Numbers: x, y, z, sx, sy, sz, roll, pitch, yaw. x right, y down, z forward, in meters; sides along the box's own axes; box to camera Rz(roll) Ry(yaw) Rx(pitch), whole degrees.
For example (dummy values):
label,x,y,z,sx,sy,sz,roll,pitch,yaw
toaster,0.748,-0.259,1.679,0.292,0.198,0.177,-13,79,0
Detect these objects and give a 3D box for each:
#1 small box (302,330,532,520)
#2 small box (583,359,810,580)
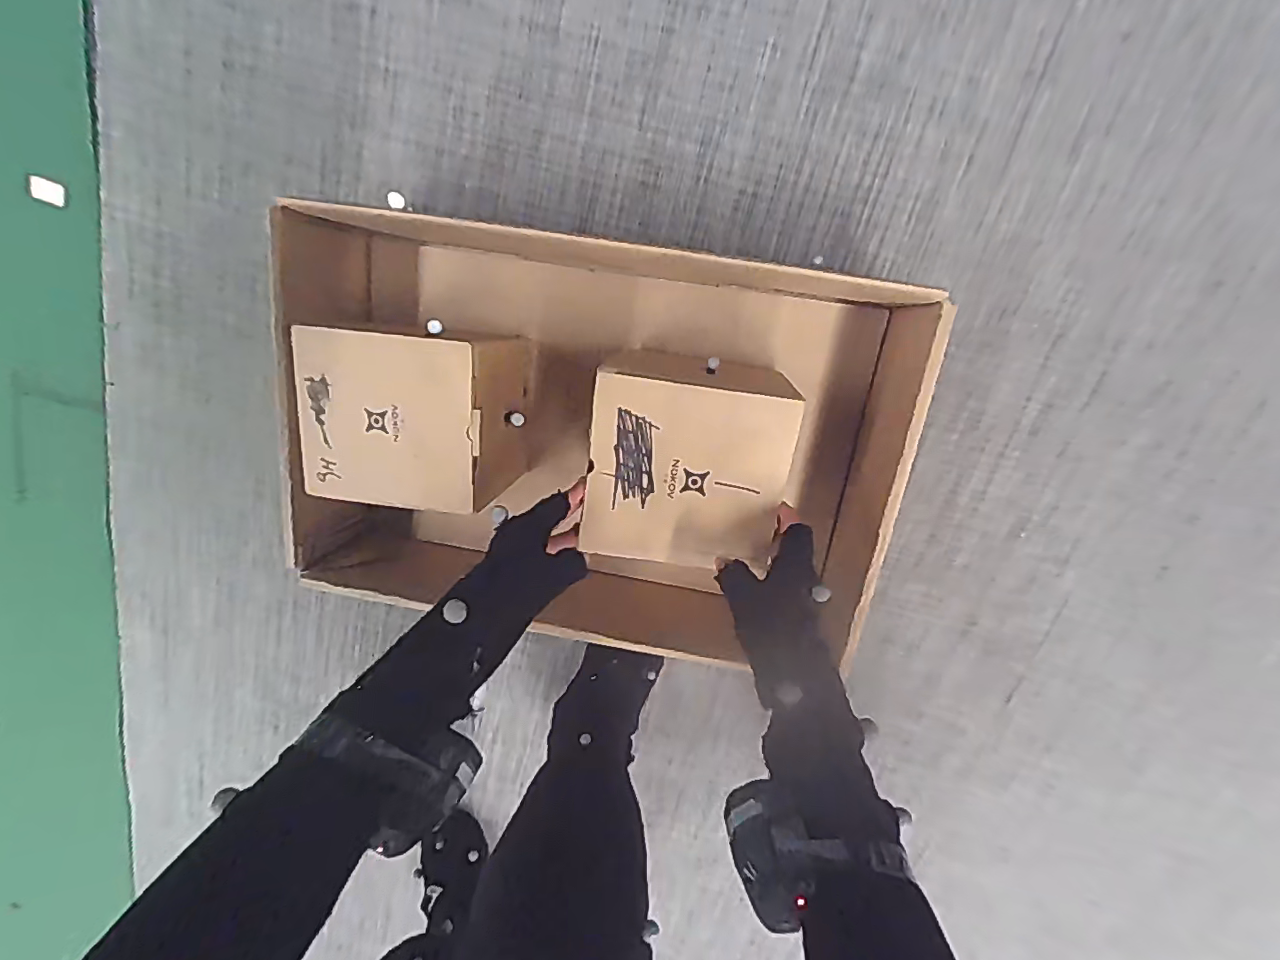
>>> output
label,x,y,z,sx,sy,sz,roll,pitch,yaw
small box,-0.222,-0.070,0.585,0.179,0.176,0.168,7,106,4
small box,0.054,-0.024,0.551,0.179,0.176,0.168,11,109,4
